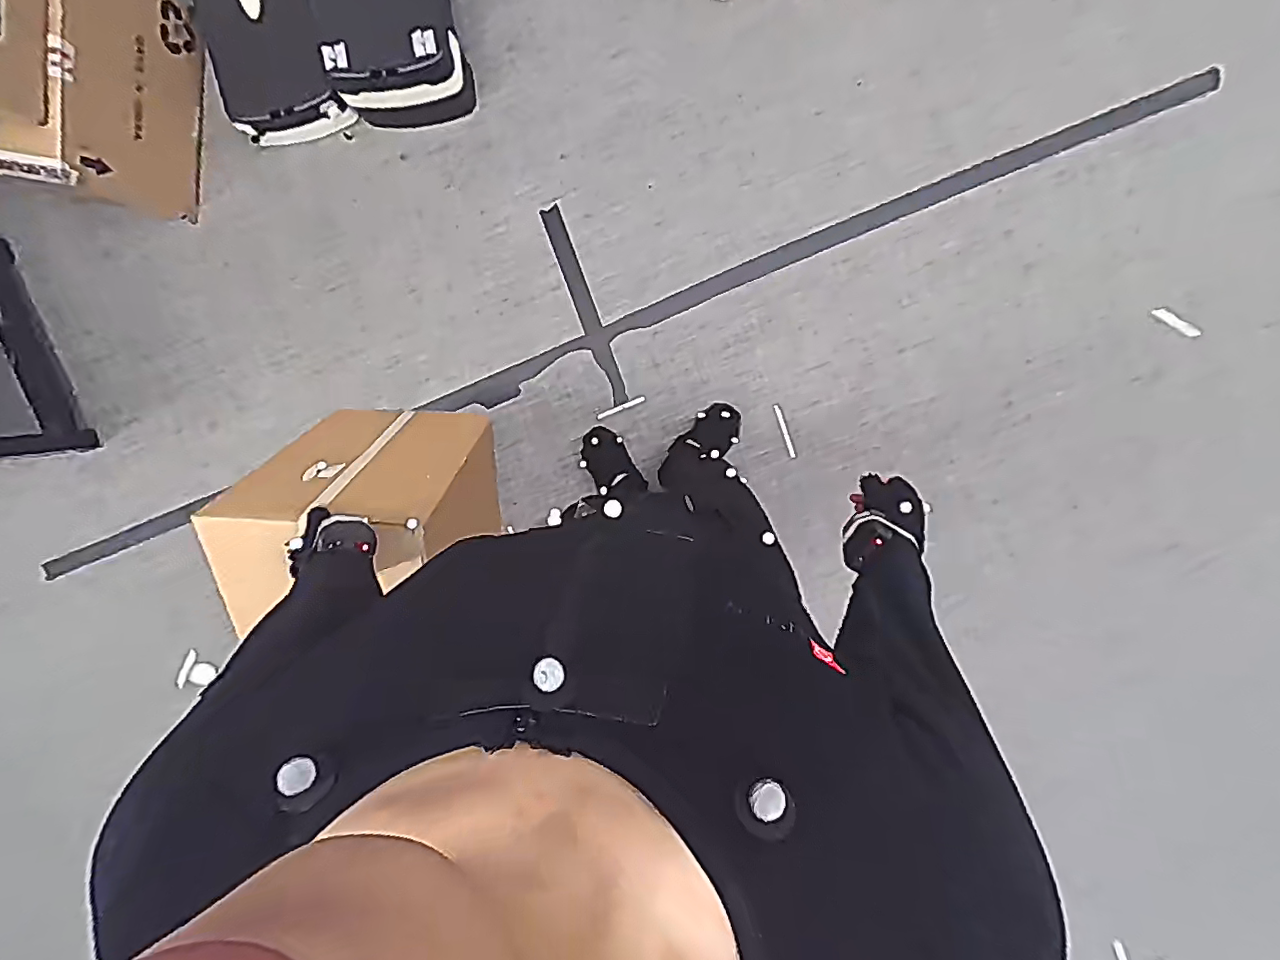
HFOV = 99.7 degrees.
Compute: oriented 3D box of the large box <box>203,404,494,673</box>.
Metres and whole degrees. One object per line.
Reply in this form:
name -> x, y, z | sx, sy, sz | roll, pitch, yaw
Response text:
large box -> -0.468, 0.086, 0.994 | 0.320, 0.408, 0.320 | 3, 119, -1
